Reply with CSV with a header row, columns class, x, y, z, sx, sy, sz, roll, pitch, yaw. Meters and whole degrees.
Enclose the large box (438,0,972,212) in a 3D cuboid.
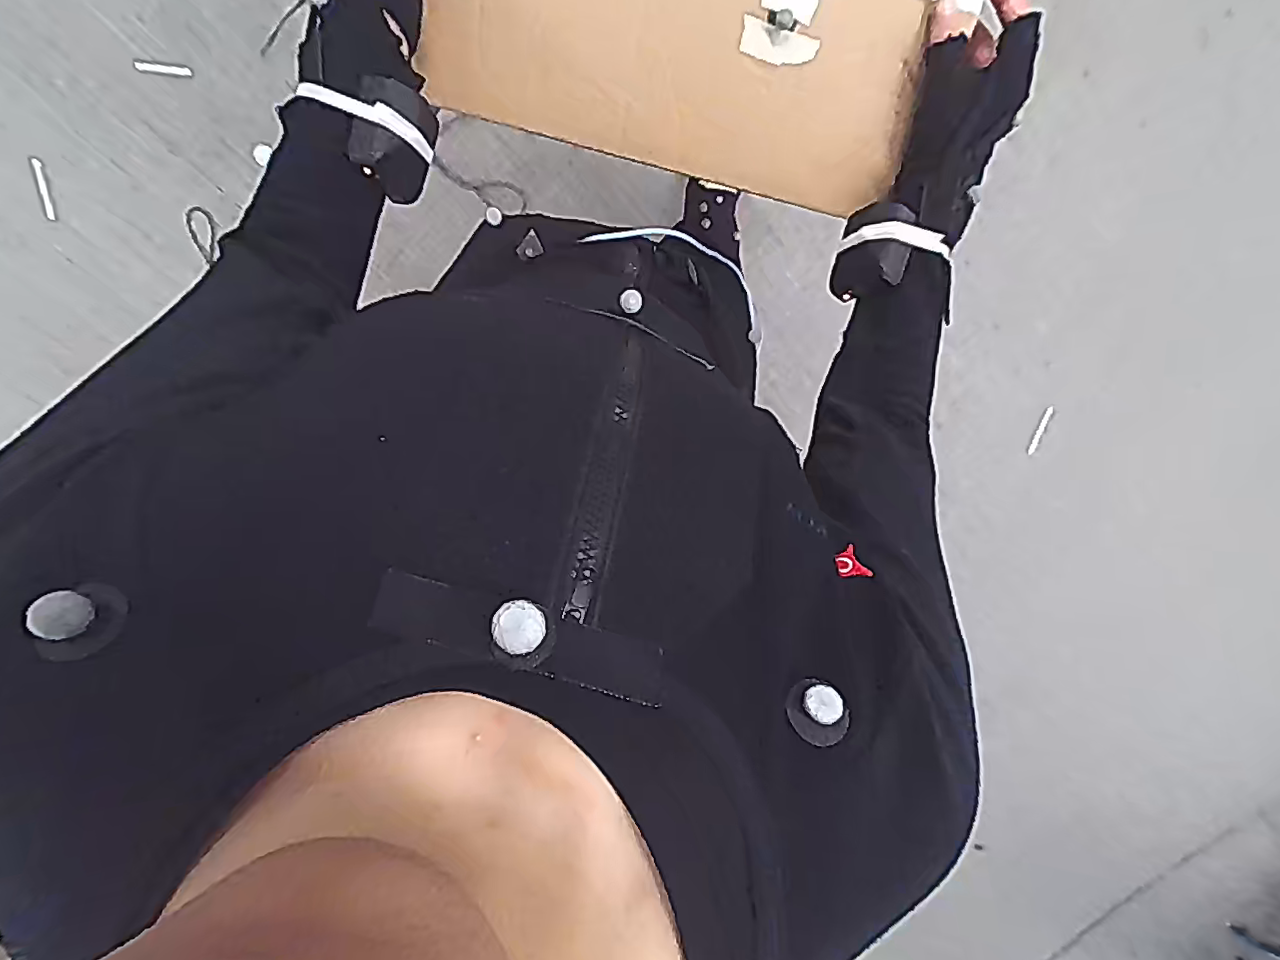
class,x,y,z,sx,sy,sz,roll,pitch,yaw
large box,0.059,-0.484,0.505,0.408,0.320,0.320,11,126,-7
